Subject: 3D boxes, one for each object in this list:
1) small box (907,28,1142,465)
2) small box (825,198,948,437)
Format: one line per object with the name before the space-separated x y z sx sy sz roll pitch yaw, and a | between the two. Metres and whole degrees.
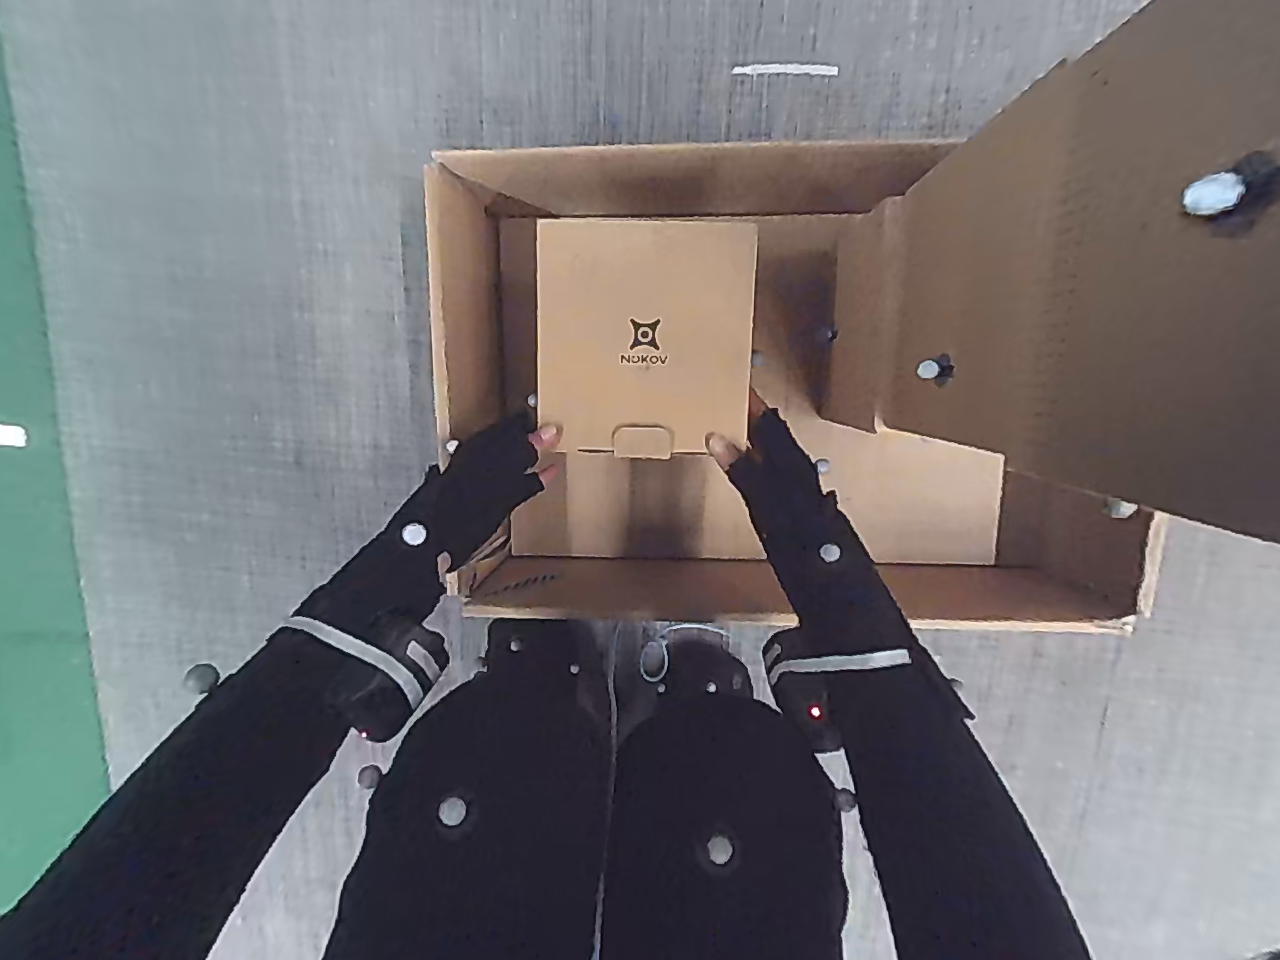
small box | 0.269 -0.105 0.301 0.168 0.176 0.179 2 100 4
small box | 0.268 -0.137 0.482 0.168 0.176 0.179 -2 100 6
